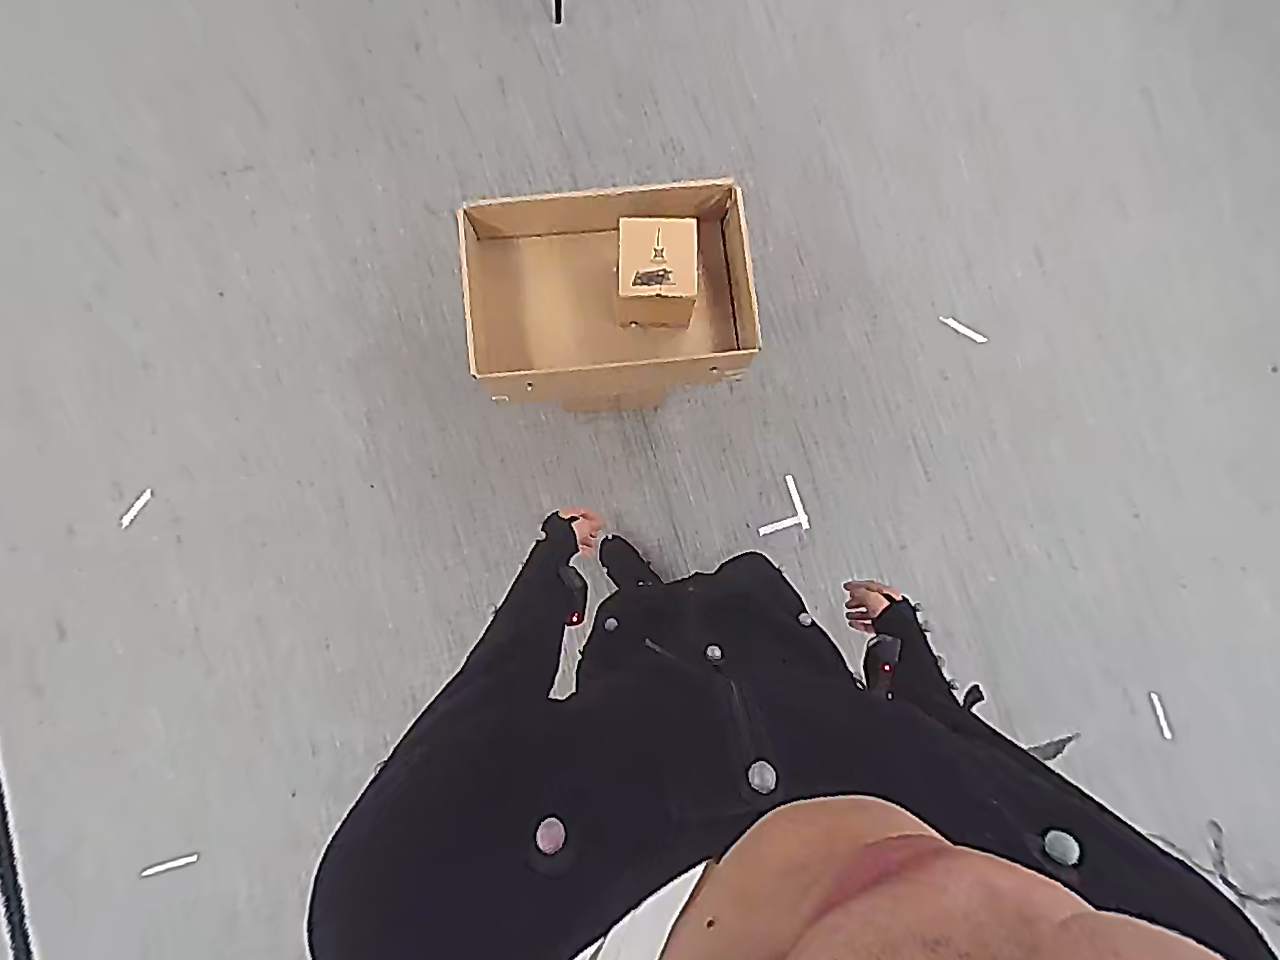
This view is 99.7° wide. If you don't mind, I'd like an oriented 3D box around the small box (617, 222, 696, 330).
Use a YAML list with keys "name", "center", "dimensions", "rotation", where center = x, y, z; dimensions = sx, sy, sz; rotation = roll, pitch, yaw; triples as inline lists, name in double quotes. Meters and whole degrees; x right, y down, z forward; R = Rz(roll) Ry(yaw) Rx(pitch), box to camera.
- name: "small box"
  center: [0.034, -0.448, 1.209]
  dimensions: [0.168, 0.176, 0.179]
  rotation: [0, 83, -1]
